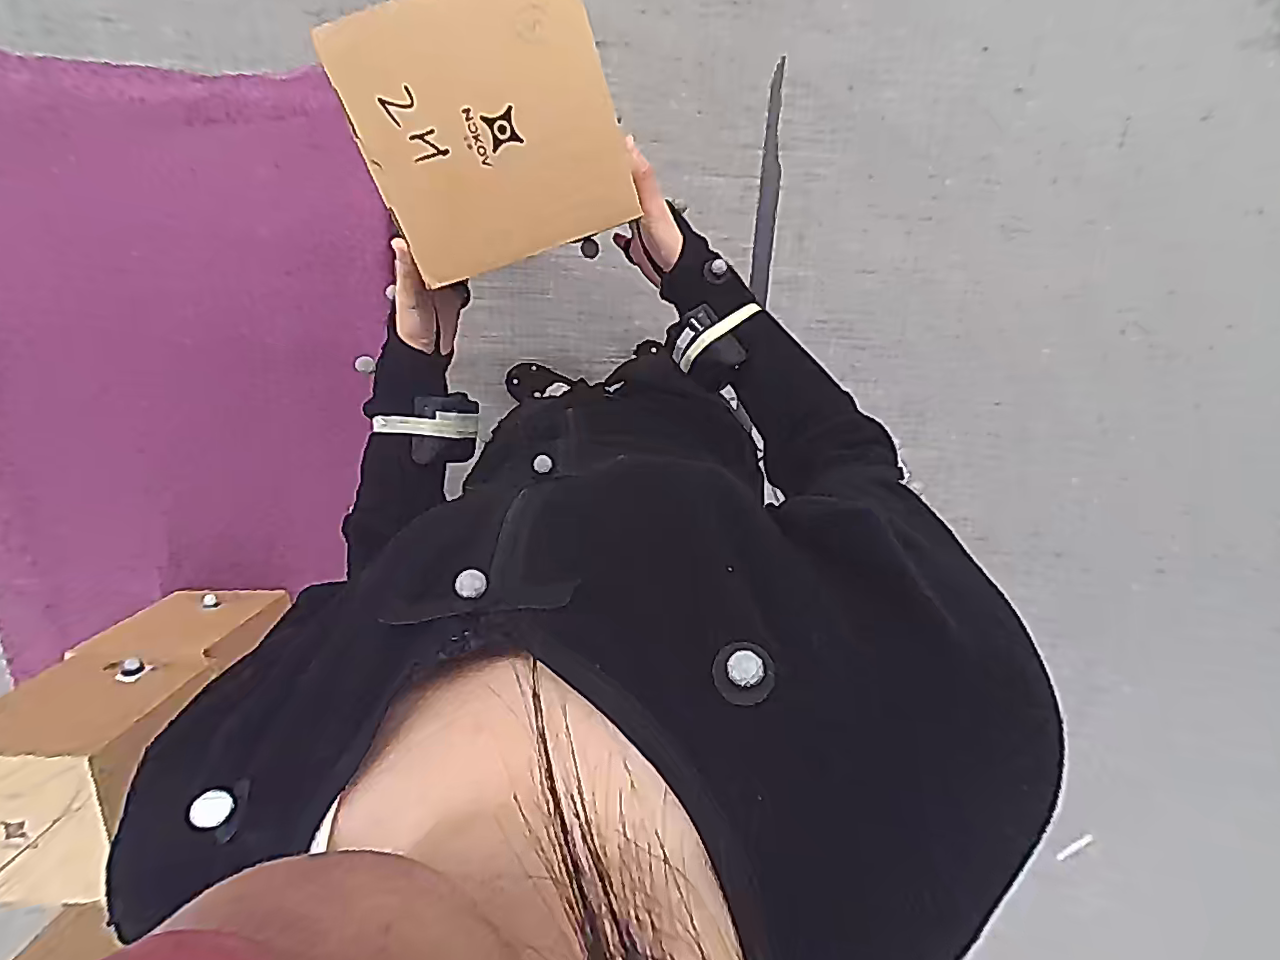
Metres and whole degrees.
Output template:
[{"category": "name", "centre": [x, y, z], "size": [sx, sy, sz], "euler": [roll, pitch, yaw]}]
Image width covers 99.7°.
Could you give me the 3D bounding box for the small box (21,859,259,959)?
[{"category": "small box", "centre": [-0.610, 0.595, 0.656], "size": [0.168, 0.176, 0.179], "euler": [-3, 104, 0]}]

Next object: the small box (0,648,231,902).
[{"category": "small box", "centre": [-0.584, 0.305, 0.583], "size": [0.168, 0.176, 0.179], "euler": [2, 103, -3]}]

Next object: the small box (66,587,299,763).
[{"category": "small box", "centre": [-0.600, 0.264, 0.739], "size": [0.168, 0.176, 0.179], "euler": [0, 104, -1]}]

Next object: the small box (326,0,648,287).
[{"category": "small box", "centre": [-0.107, -0.275, 0.447], "size": [0.179, 0.176, 0.168], "euler": [-18, 116, 1]}]
